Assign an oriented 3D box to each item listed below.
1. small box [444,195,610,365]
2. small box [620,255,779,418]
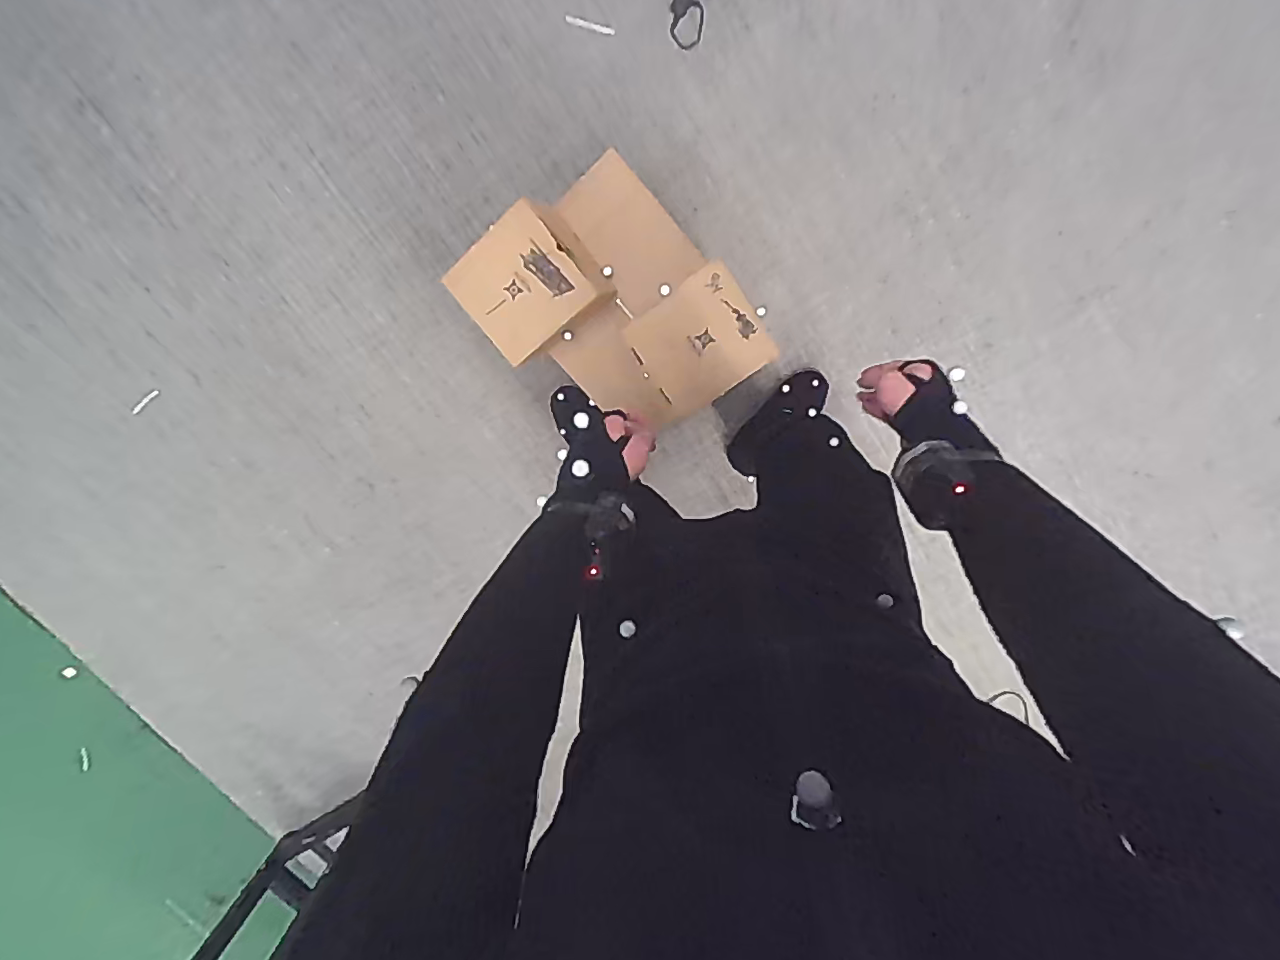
[{"bbox_3d":[-0.162,-0.307,0.847,0.179,0.176,0.168,-35,102,17],"label":"small box"},{"bbox_3d":[0.092,-0.223,0.852,0.179,0.176,0.168,-33,102,12],"label":"small box"}]
